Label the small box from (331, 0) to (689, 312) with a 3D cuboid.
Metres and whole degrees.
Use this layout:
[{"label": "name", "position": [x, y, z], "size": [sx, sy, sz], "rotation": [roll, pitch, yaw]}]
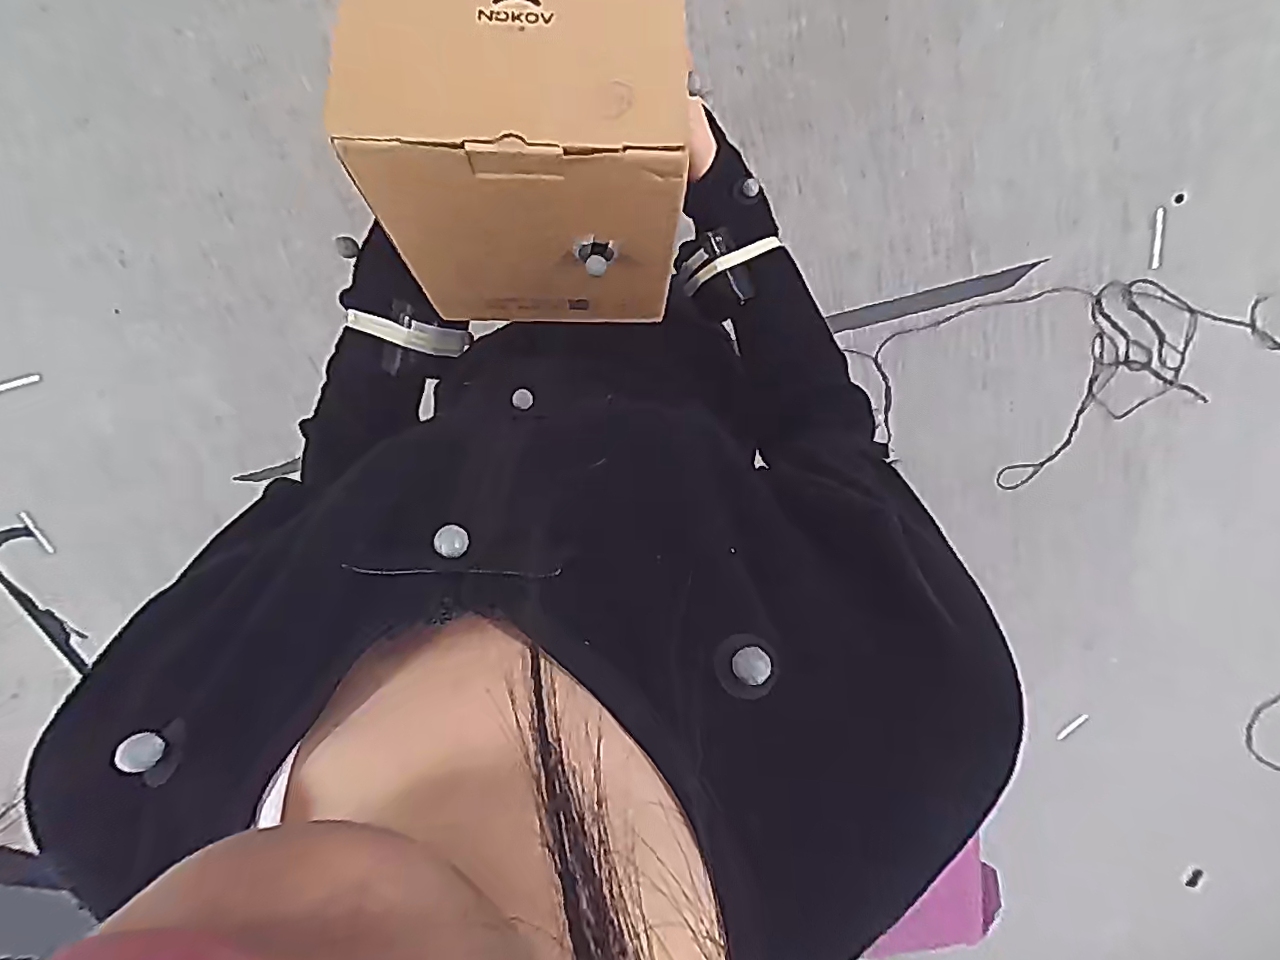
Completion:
[{"label": "small box", "position": [-0.062, -0.222, 0.338], "size": [0.168, 0.176, 0.179], "rotation": [0, 78, -4]}]
